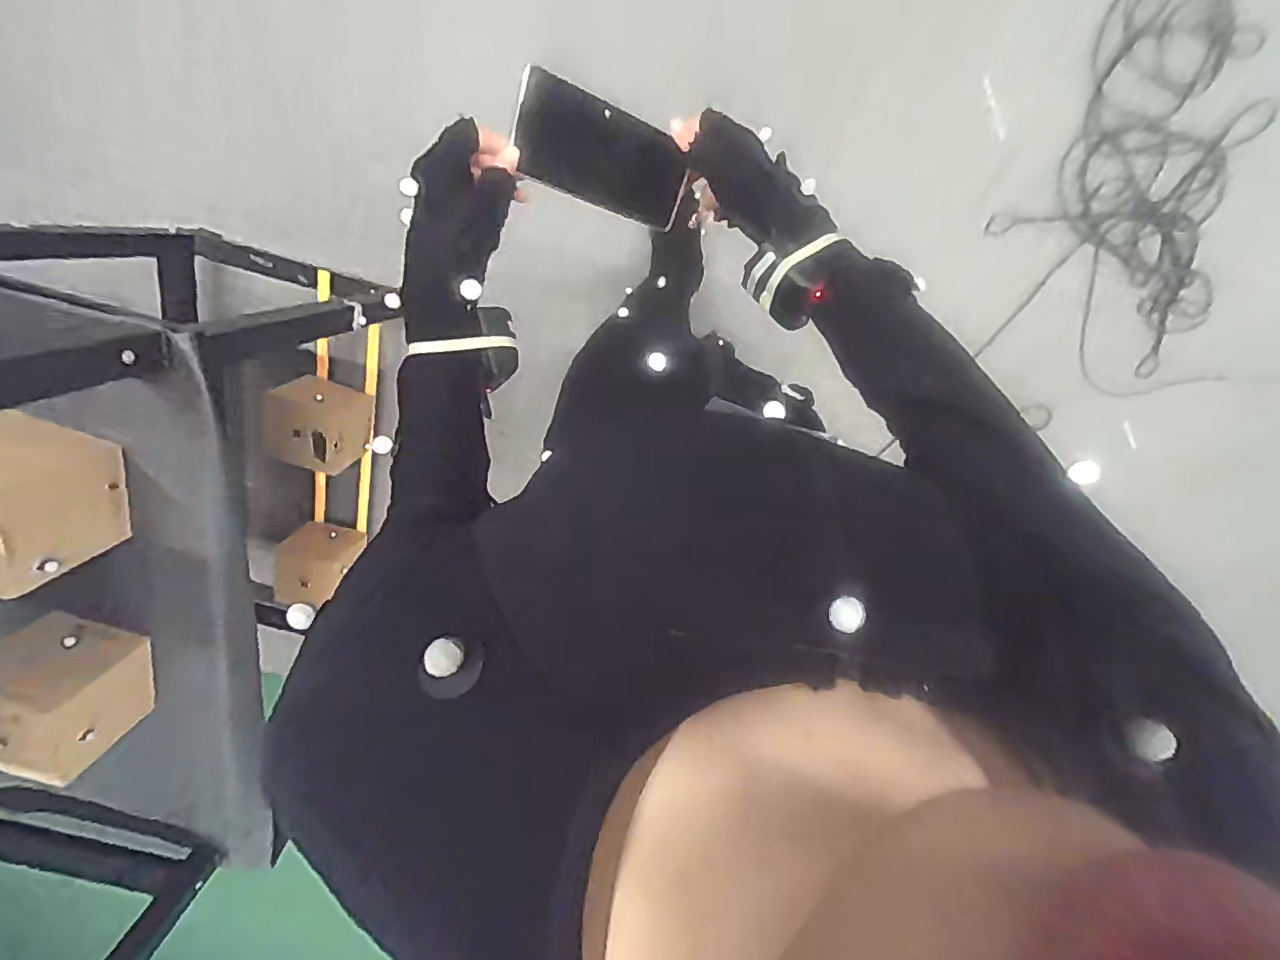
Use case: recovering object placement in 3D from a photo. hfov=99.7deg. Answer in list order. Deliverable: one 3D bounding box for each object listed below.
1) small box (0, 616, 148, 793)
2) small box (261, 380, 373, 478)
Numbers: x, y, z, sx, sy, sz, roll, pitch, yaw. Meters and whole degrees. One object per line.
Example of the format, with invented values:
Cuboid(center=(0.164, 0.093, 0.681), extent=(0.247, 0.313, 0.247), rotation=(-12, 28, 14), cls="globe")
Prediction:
Cuboid(center=(-0.948, 0.356, 0.874), extent=(0.168, 0.176, 0.179), rotation=(18, 113, -4), cls="small box")
Cuboid(center=(-0.787, -0.133, 1.330), extent=(0.179, 0.176, 0.168), rotation=(18, 113, -4), cls="small box")
